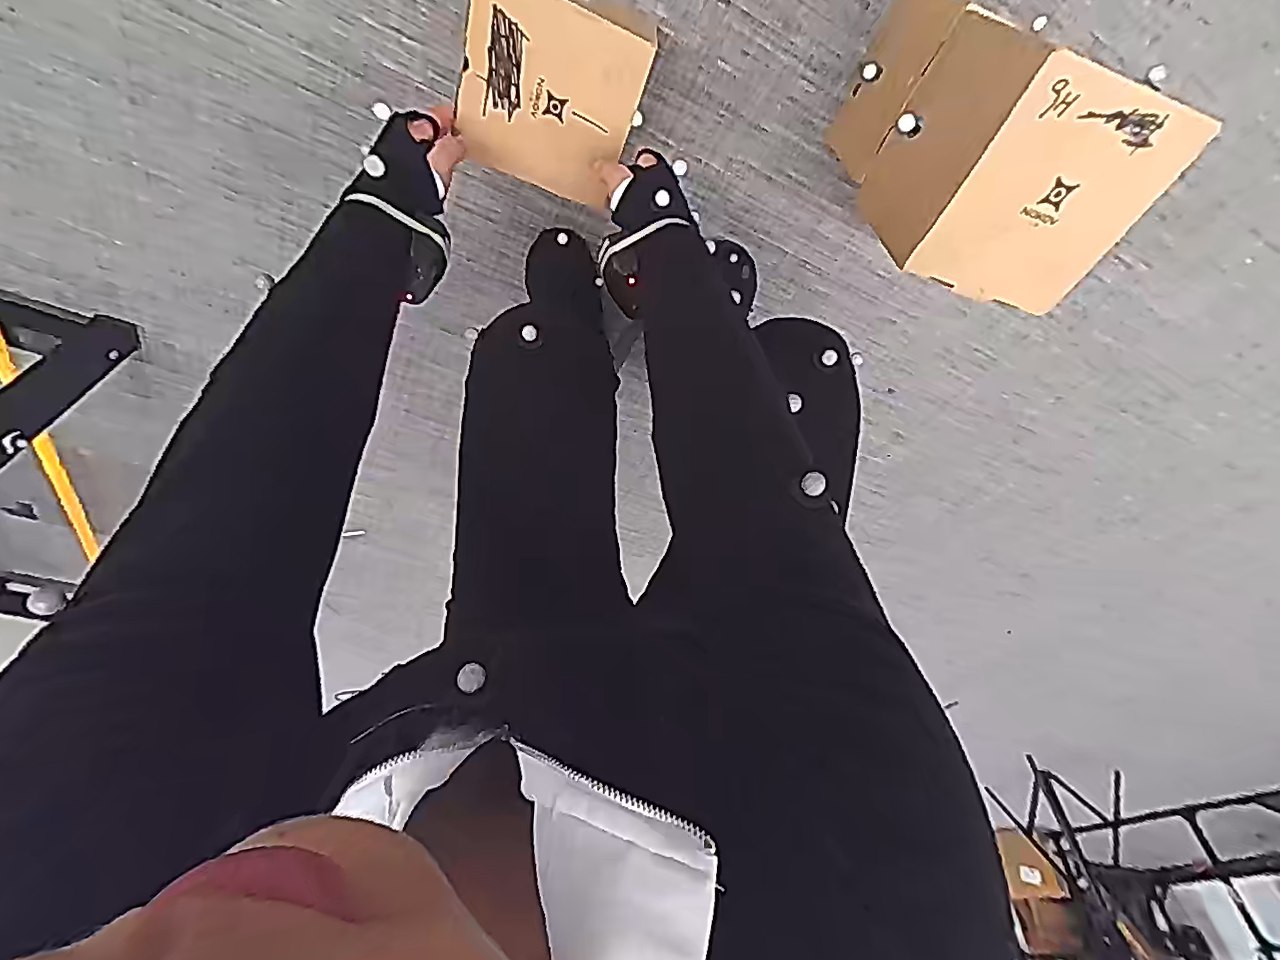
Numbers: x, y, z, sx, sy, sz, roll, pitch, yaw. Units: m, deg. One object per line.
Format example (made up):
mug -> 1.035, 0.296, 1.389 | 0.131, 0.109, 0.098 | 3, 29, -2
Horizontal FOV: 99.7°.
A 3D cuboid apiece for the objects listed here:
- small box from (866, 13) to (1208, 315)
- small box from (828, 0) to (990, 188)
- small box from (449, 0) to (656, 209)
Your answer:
small box -> 0.341, -0.296, 0.514 | 0.168, 0.176, 0.179 | 13, 137, -13
small box -> 0.348, -0.421, 0.619 | 0.179, 0.176, 0.168 | 14, 136, -14
small box -> -0.093, -0.443, 0.600 | 0.179, 0.176, 0.168 | 16, 136, -16
